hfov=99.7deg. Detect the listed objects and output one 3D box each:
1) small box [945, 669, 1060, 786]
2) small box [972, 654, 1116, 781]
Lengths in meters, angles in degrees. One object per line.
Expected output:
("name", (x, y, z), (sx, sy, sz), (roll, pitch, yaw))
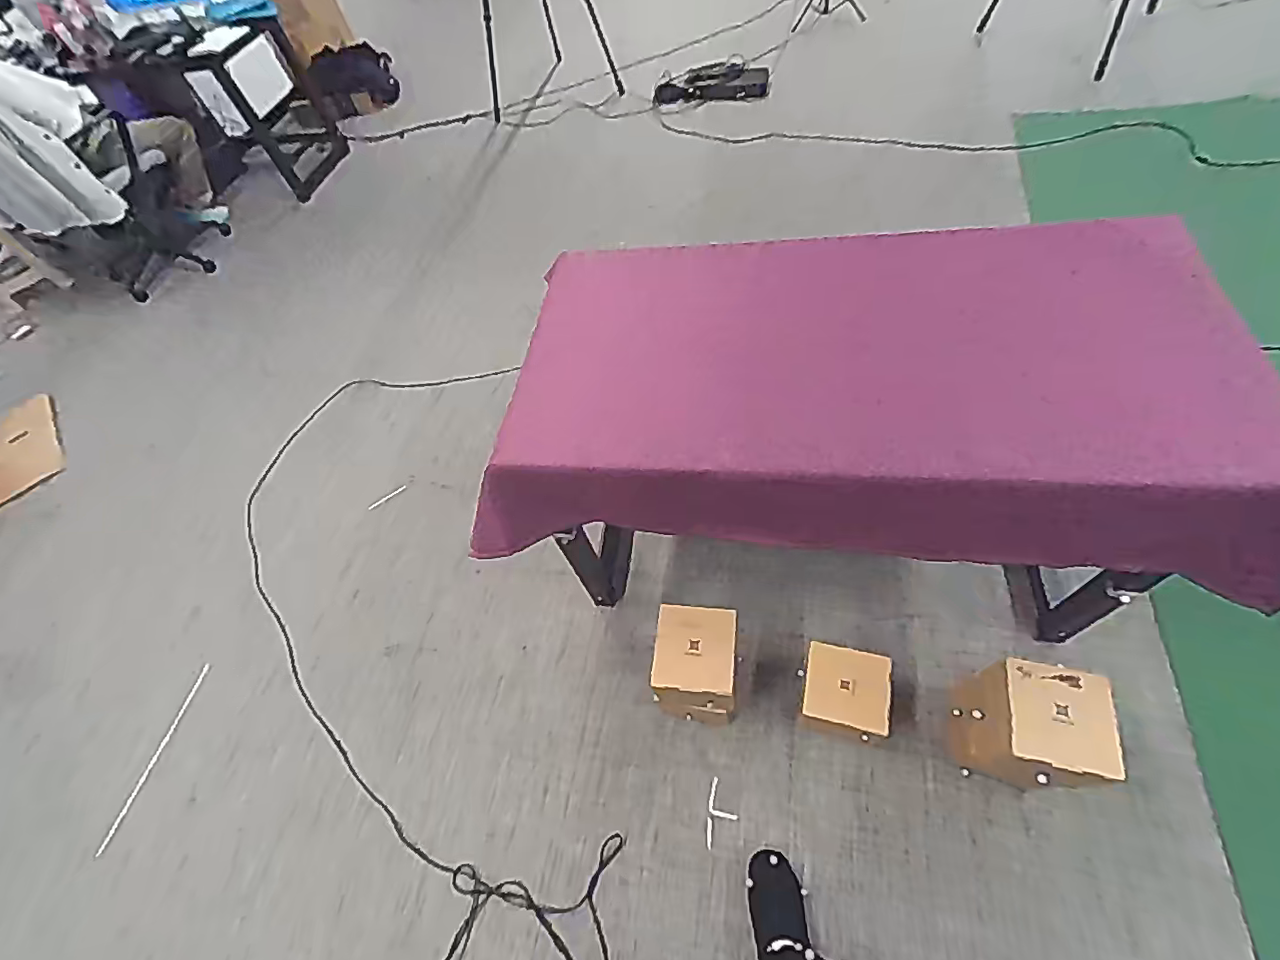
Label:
("small box", (0.773, 0.536, 1.163), (0.168, 0.176, 0.179), (12, 60, 18))
("small box", (0.749, 0.454, 1.023), (0.168, 0.176, 0.179), (9, 61, 16))
